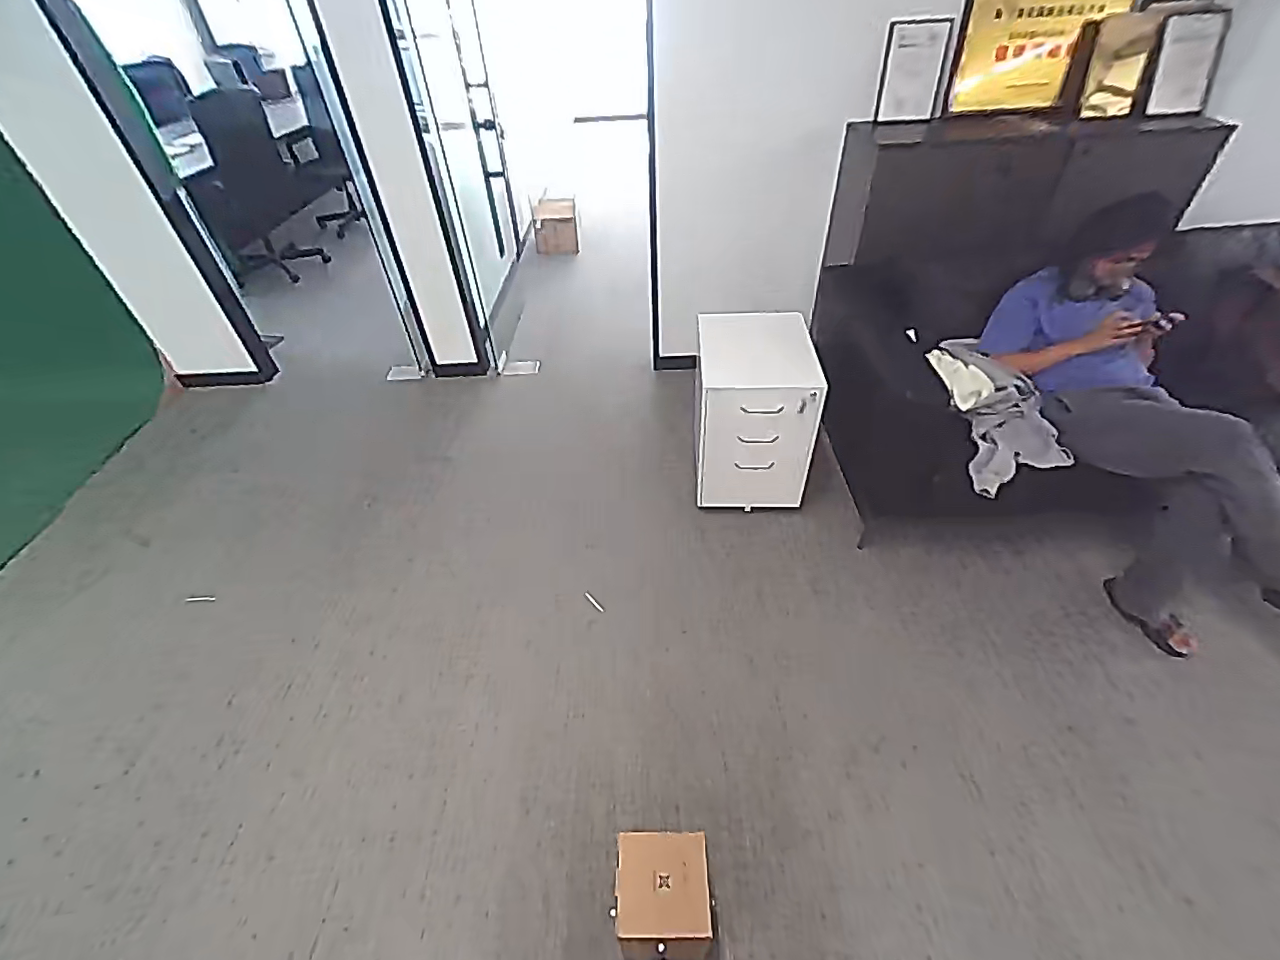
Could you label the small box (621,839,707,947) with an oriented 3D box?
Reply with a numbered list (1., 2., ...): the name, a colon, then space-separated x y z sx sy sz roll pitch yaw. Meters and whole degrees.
1. small box: 0.051 0.920 1.204 0.179 0.176 0.168 0 43 2
